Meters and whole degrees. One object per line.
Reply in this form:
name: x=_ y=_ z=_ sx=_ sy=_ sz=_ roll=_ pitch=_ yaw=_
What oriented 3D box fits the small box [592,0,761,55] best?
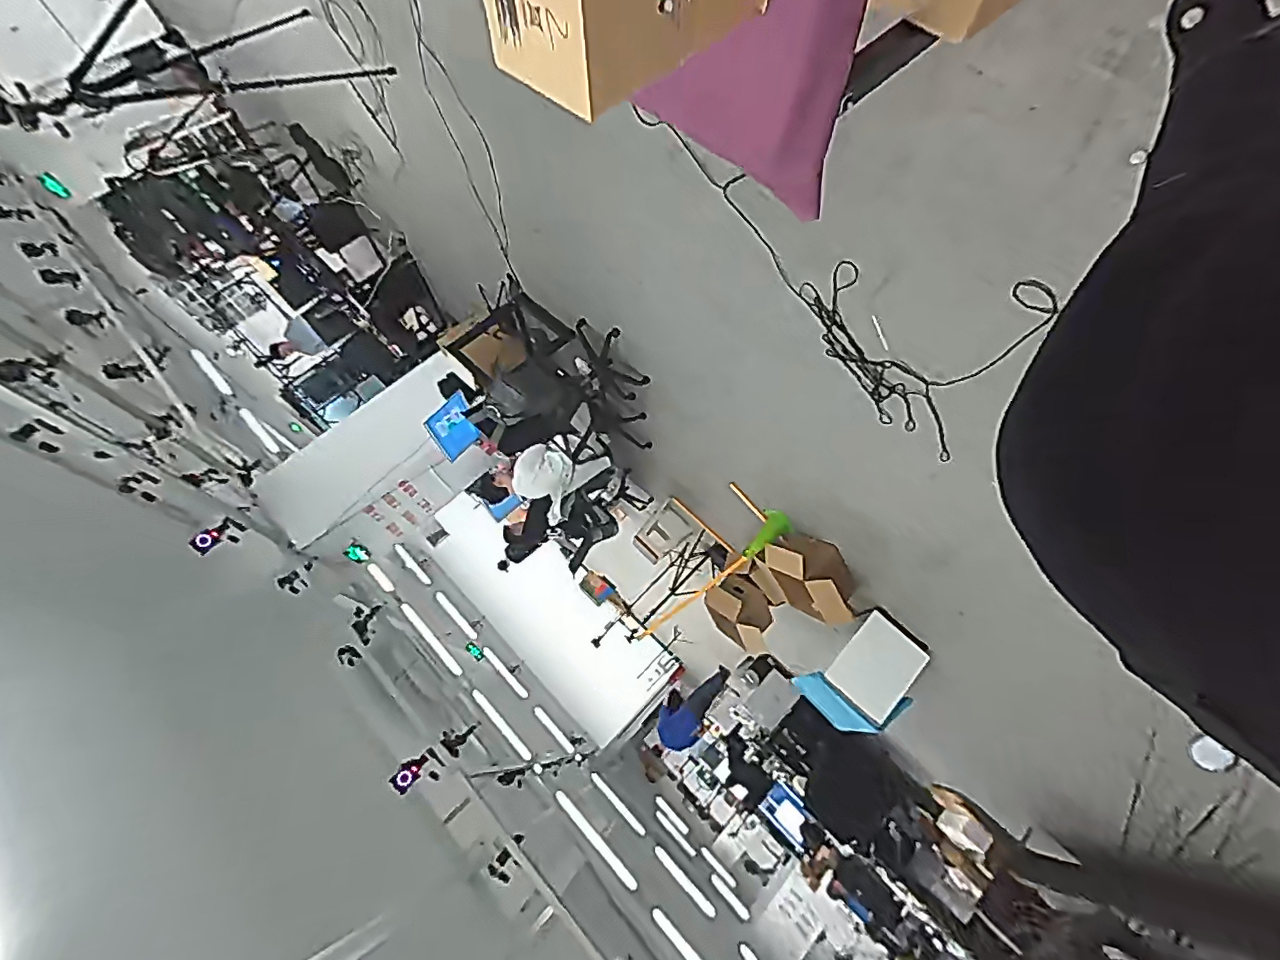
small box: x=0.054 y=-0.675 z=0.658 sx=0.179 sy=0.176 sz=0.168 roll=42 pitch=162 yaw=16
